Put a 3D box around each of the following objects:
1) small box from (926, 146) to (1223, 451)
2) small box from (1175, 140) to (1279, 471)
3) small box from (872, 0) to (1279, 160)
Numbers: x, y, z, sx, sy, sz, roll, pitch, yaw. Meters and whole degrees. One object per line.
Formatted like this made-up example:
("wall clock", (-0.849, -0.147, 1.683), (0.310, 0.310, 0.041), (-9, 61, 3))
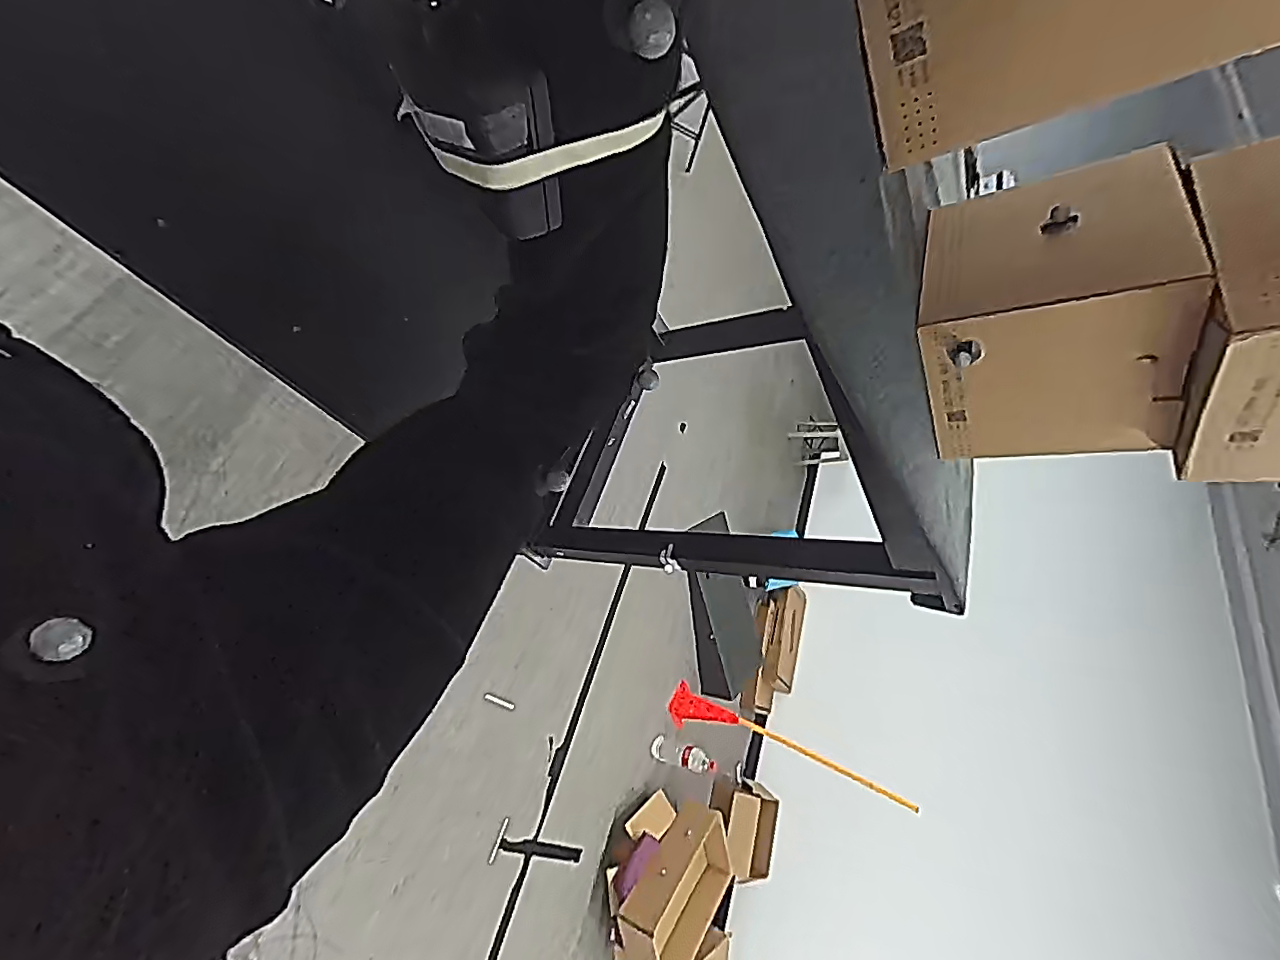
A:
("small box", (0.352, -0.140, 0.469), (0.168, 0.176, 0.179), (53, 47, -40))
("small box", (0.475, -0.116, 0.362), (0.168, 0.176, 0.179), (47, 51, -45))
("small box", (0.207, -0.301, 0.262), (0.168, 0.176, 0.179), (50, 49, -42))
